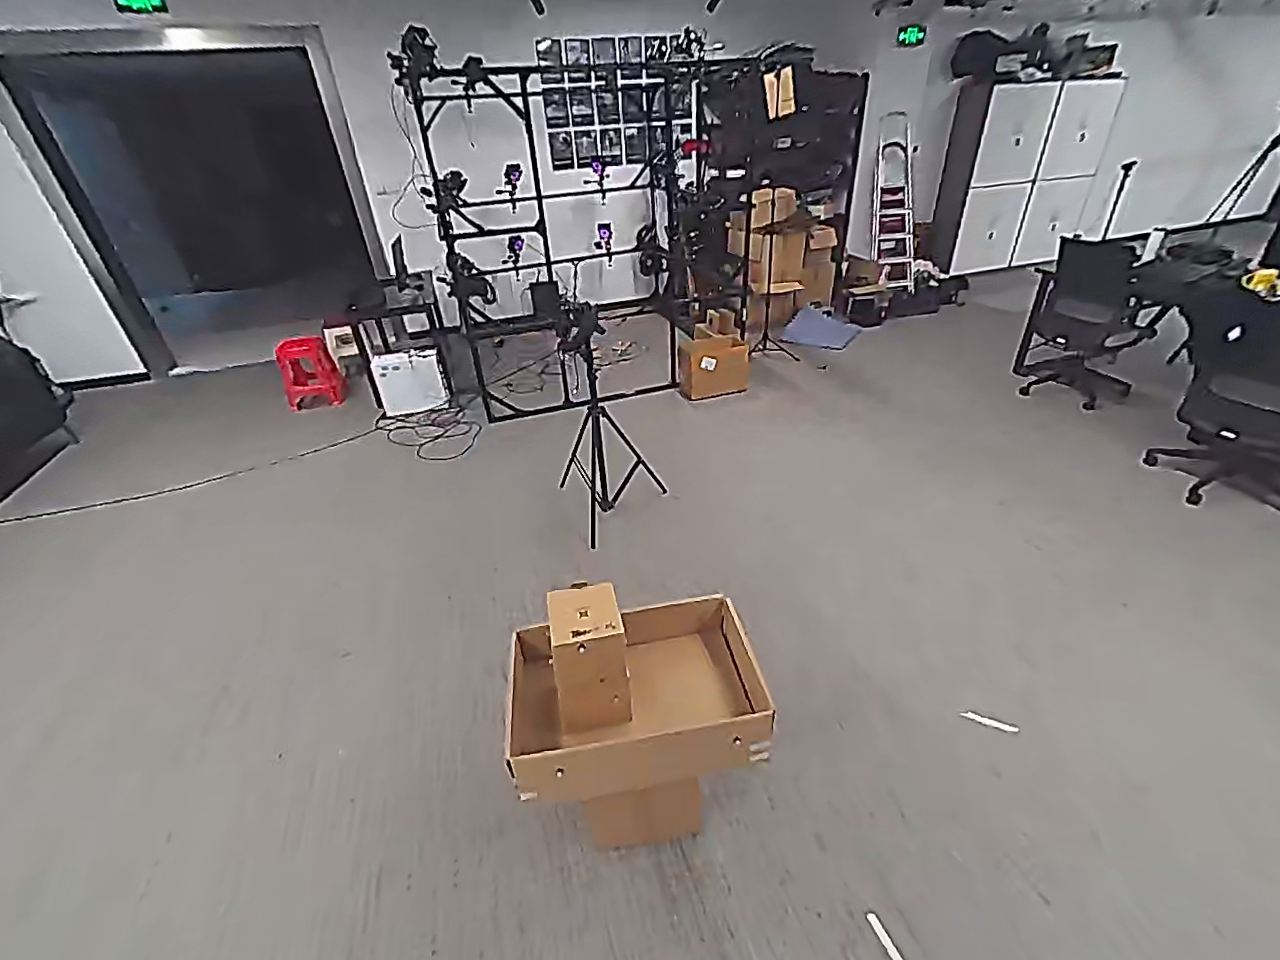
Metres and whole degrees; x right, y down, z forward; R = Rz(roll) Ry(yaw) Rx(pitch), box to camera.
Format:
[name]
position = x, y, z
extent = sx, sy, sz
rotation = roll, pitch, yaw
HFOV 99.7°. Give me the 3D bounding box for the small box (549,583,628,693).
[small box]
position = -0.126, 0.379, 1.304
extent = 0.168, 0.176, 0.179
rotation = -8, 32, -9
